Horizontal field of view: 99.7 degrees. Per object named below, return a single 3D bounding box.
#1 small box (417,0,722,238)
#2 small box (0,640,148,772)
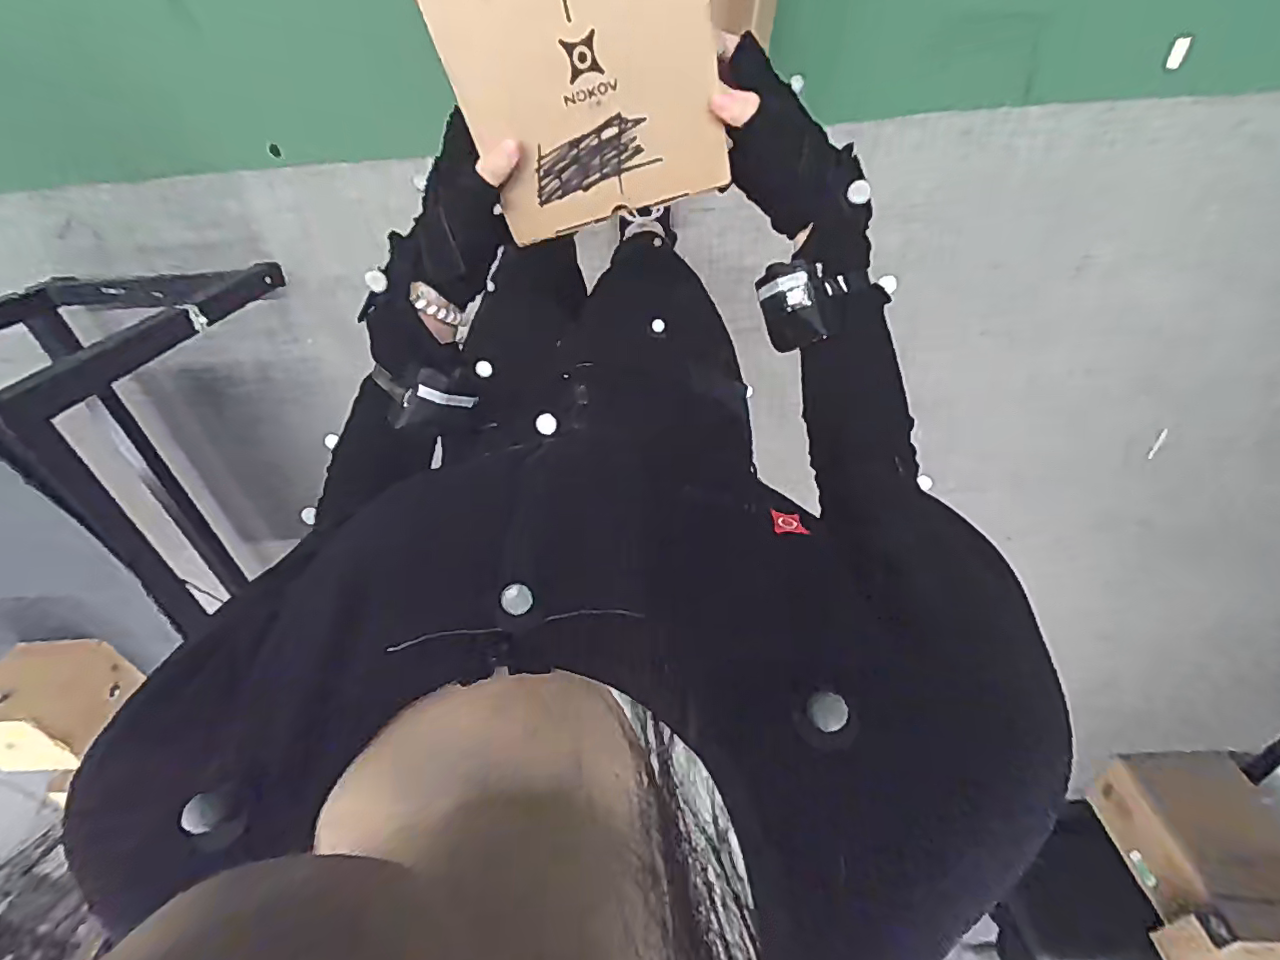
[{"bbox_3d":[-0.043,-0.311,0.395,0.168,0.176,0.179,-13,133,6],"label":"small box"},{"bbox_3d":[-1.097,0.417,1.006,0.179,0.176,0.168,-4,126,3],"label":"small box"}]
